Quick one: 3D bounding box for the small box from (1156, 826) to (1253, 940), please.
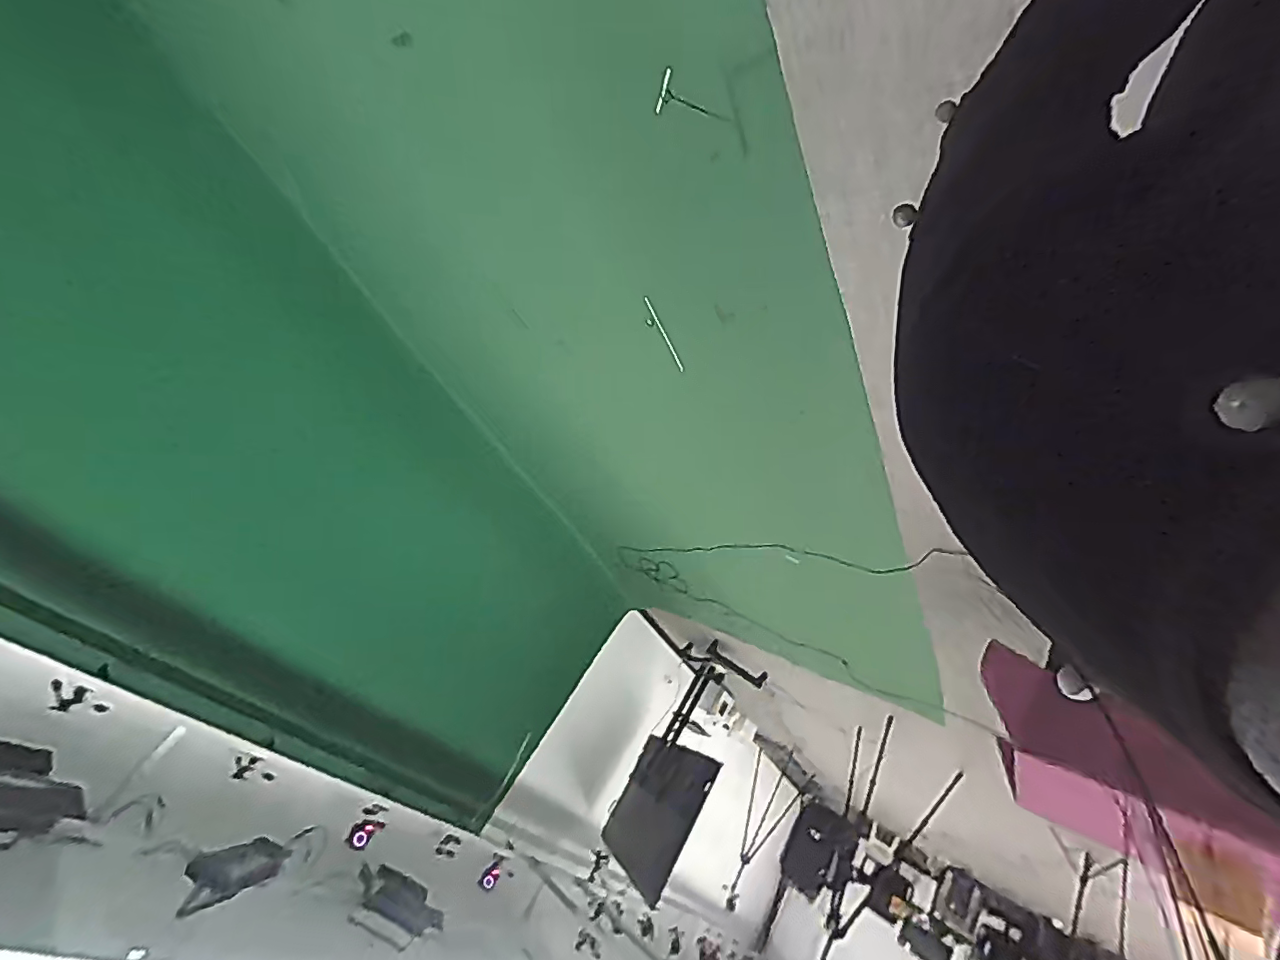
[{"bbox_3d":[1.561,1.104,1.492,0.168,0.176,0.179,0,138,52],"label":"small box"}]
